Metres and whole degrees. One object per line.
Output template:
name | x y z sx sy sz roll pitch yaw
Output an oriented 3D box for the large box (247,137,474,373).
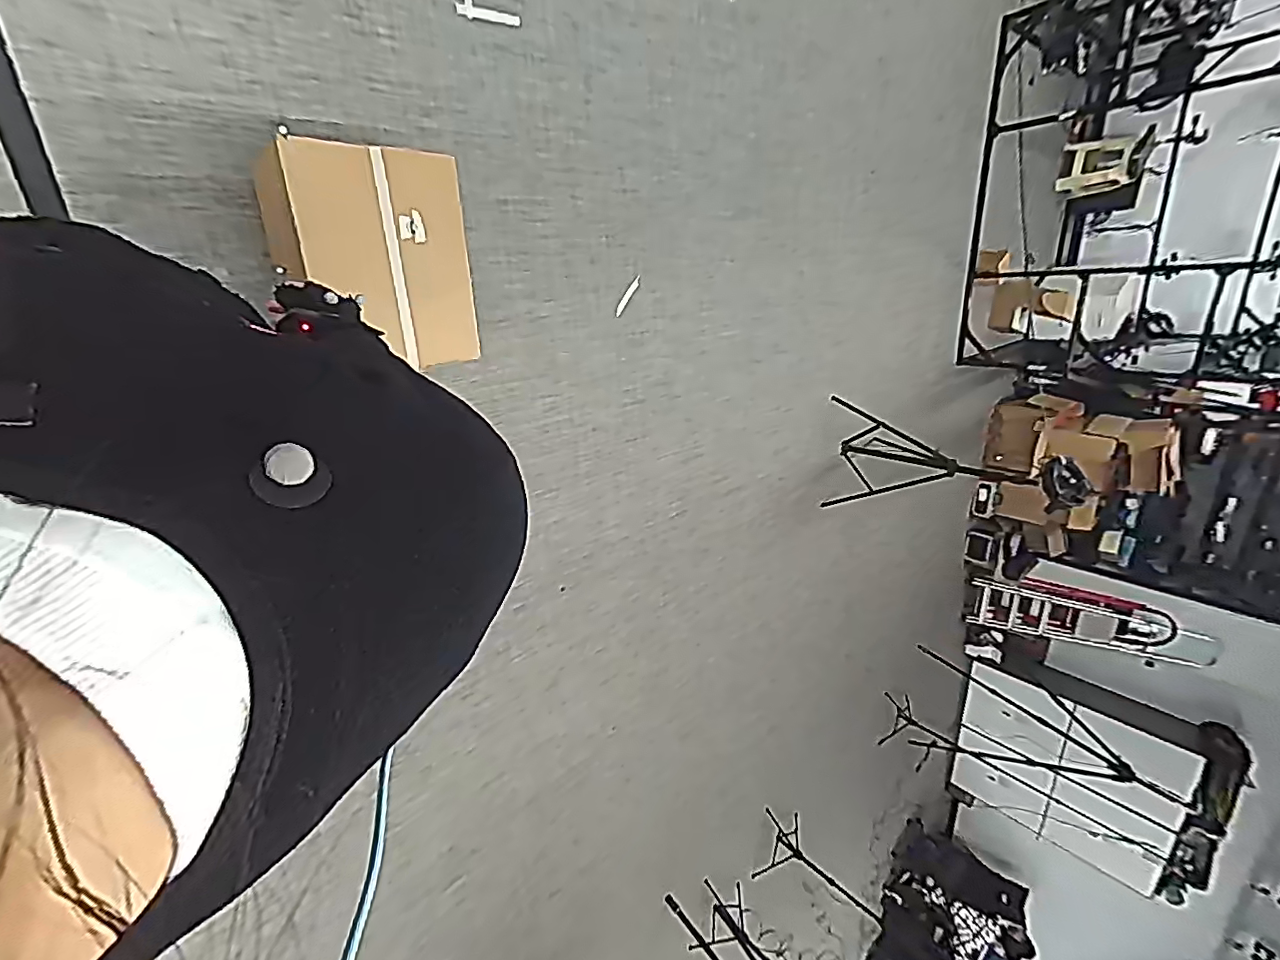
large box | -0.600 -0.460 1.174 0.320 0.320 0.408 -19 114 -39
